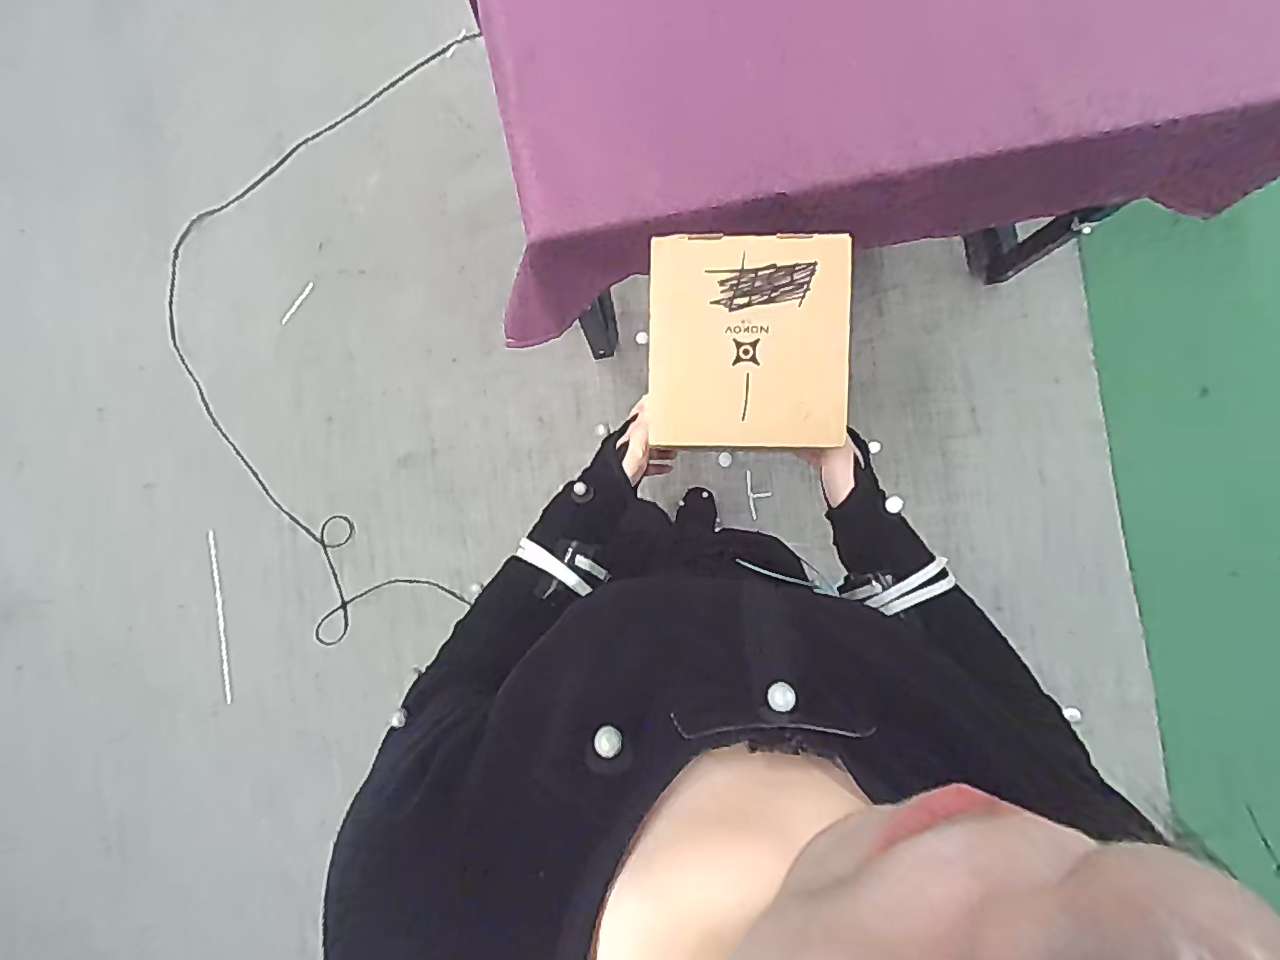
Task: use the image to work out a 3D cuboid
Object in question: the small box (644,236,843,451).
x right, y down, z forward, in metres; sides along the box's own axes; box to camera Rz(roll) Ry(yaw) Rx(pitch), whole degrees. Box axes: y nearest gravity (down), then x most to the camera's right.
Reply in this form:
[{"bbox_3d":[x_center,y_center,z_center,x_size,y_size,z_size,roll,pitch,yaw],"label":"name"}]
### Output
[{"bbox_3d":[0.091,-0.119,0.534,0.168,0.176,0.179,1,92,4],"label":"small box"}]
